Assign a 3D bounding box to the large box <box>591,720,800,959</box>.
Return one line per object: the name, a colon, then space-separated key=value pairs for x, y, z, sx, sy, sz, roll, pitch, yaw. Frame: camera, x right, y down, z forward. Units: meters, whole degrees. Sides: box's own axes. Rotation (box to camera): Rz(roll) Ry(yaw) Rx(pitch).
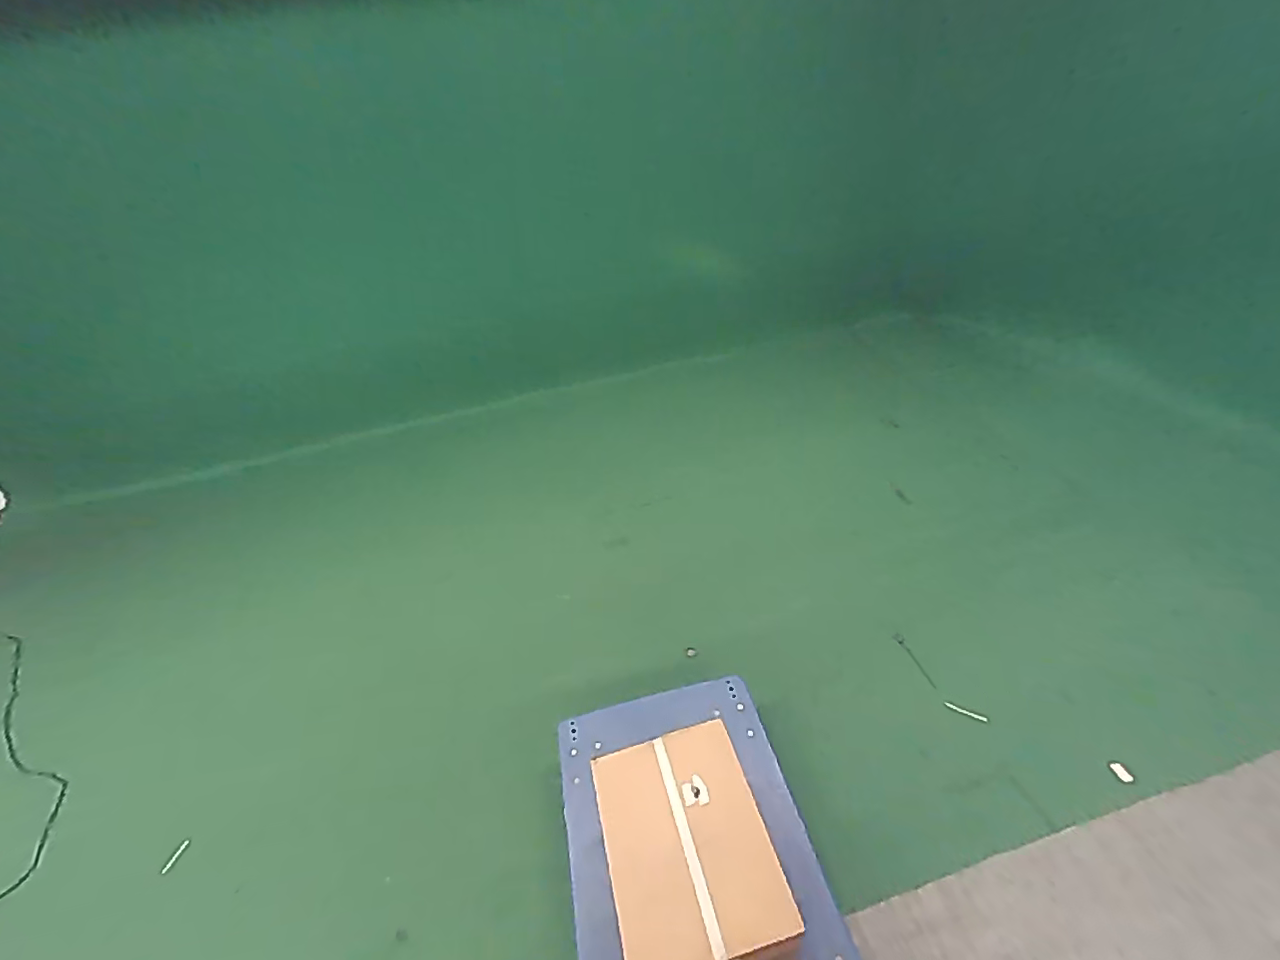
large box: x=0.107 y=0.819 z=1.160 sx=0.320 sy=0.320 sz=0.408 roll=-15 pitch=37 yaw=-7
